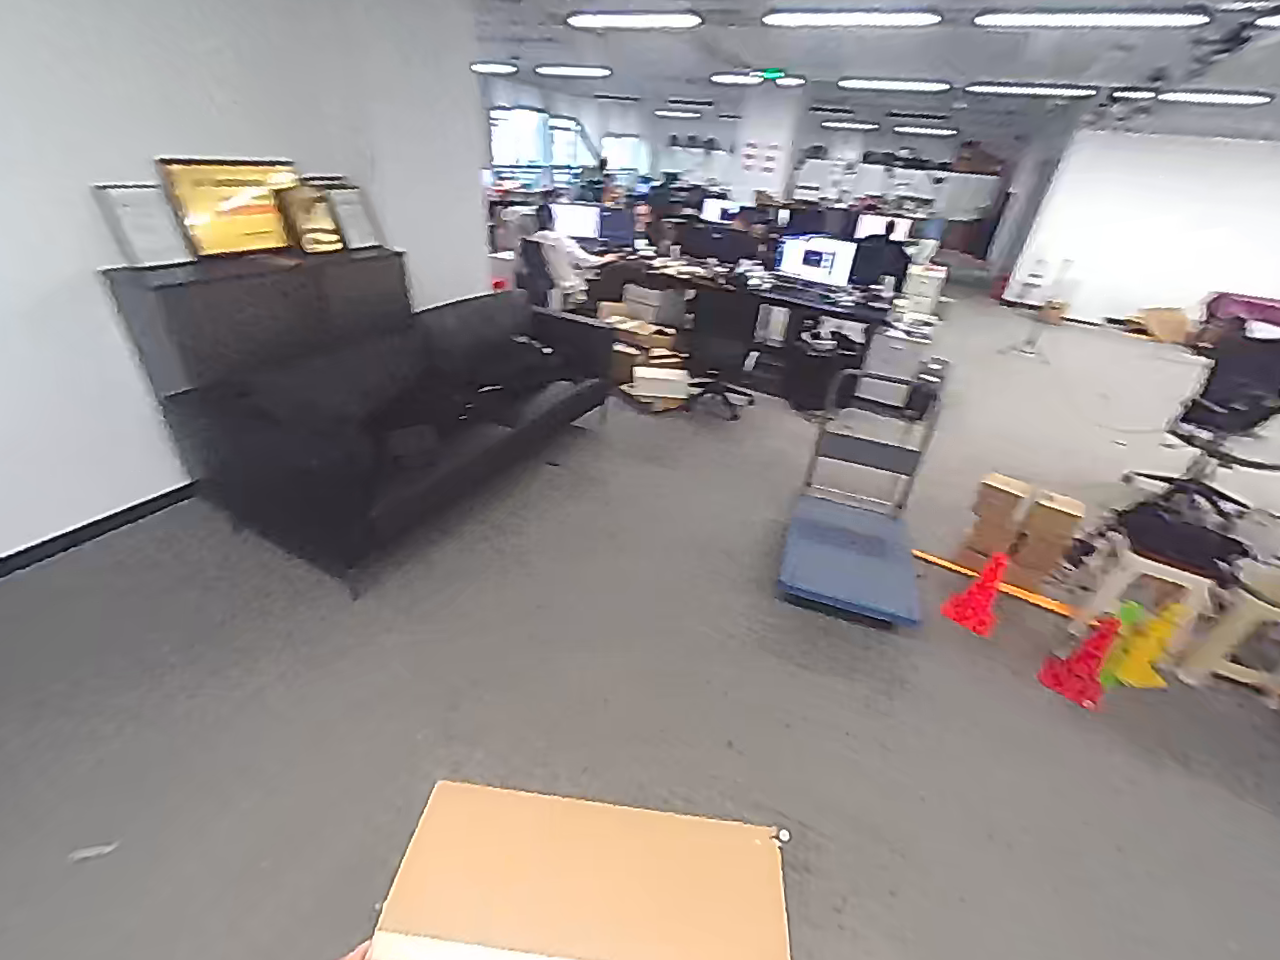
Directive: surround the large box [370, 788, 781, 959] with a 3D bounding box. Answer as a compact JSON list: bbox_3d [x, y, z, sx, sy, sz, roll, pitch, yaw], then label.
[{"bbox_3d":[-0.074,0.594,0.593,0.408,0.320,0.320,7,33,1],"label":"large box"}]
